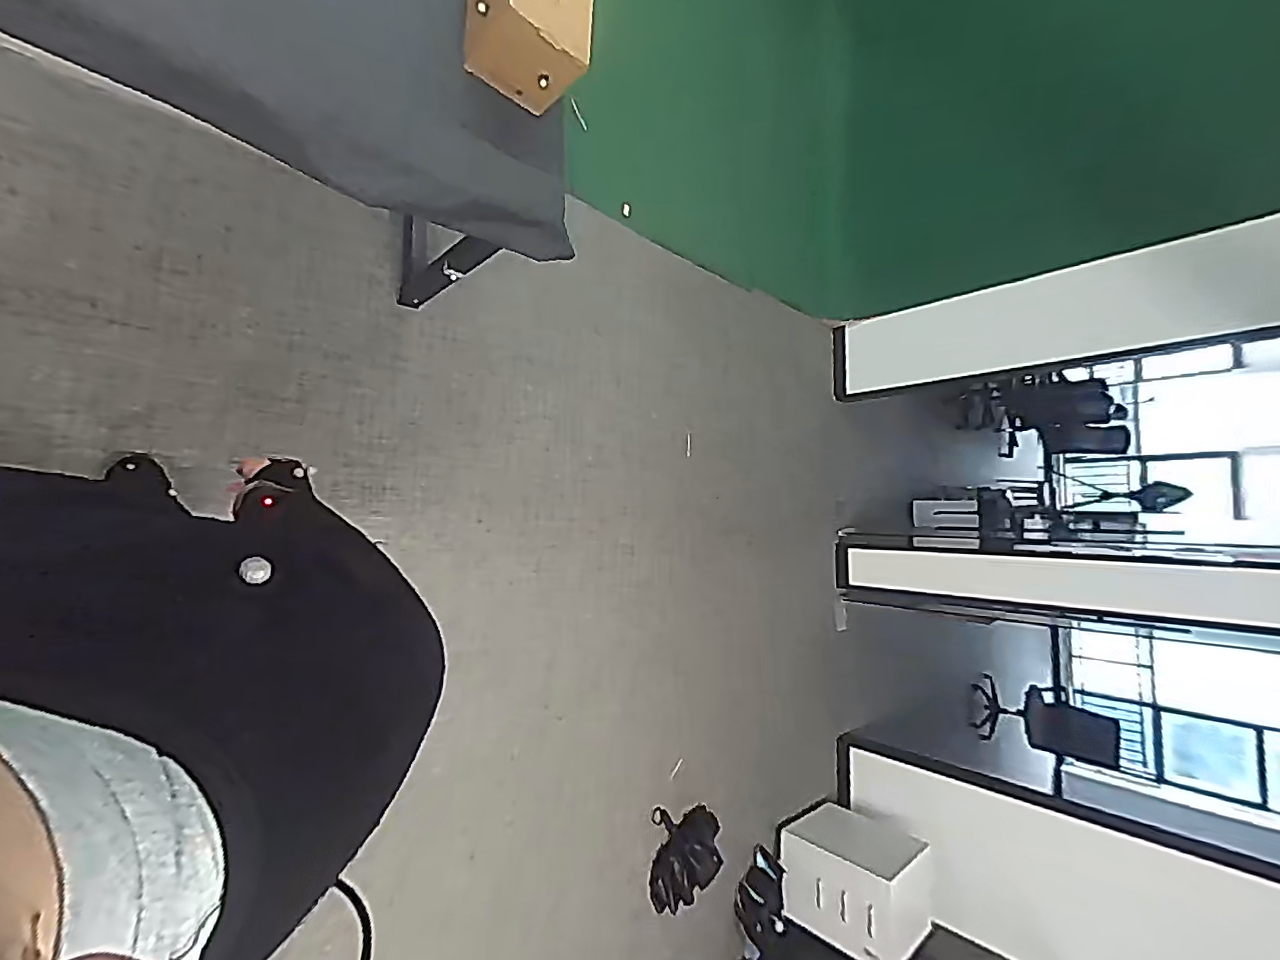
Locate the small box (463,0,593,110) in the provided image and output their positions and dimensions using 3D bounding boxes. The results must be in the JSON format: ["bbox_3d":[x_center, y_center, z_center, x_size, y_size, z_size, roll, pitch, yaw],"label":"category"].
[{"bbox_3d":[-0.202,-0.820,0.968,0.168,0.176,0.179,7,81,-44],"label":"small box"}]
